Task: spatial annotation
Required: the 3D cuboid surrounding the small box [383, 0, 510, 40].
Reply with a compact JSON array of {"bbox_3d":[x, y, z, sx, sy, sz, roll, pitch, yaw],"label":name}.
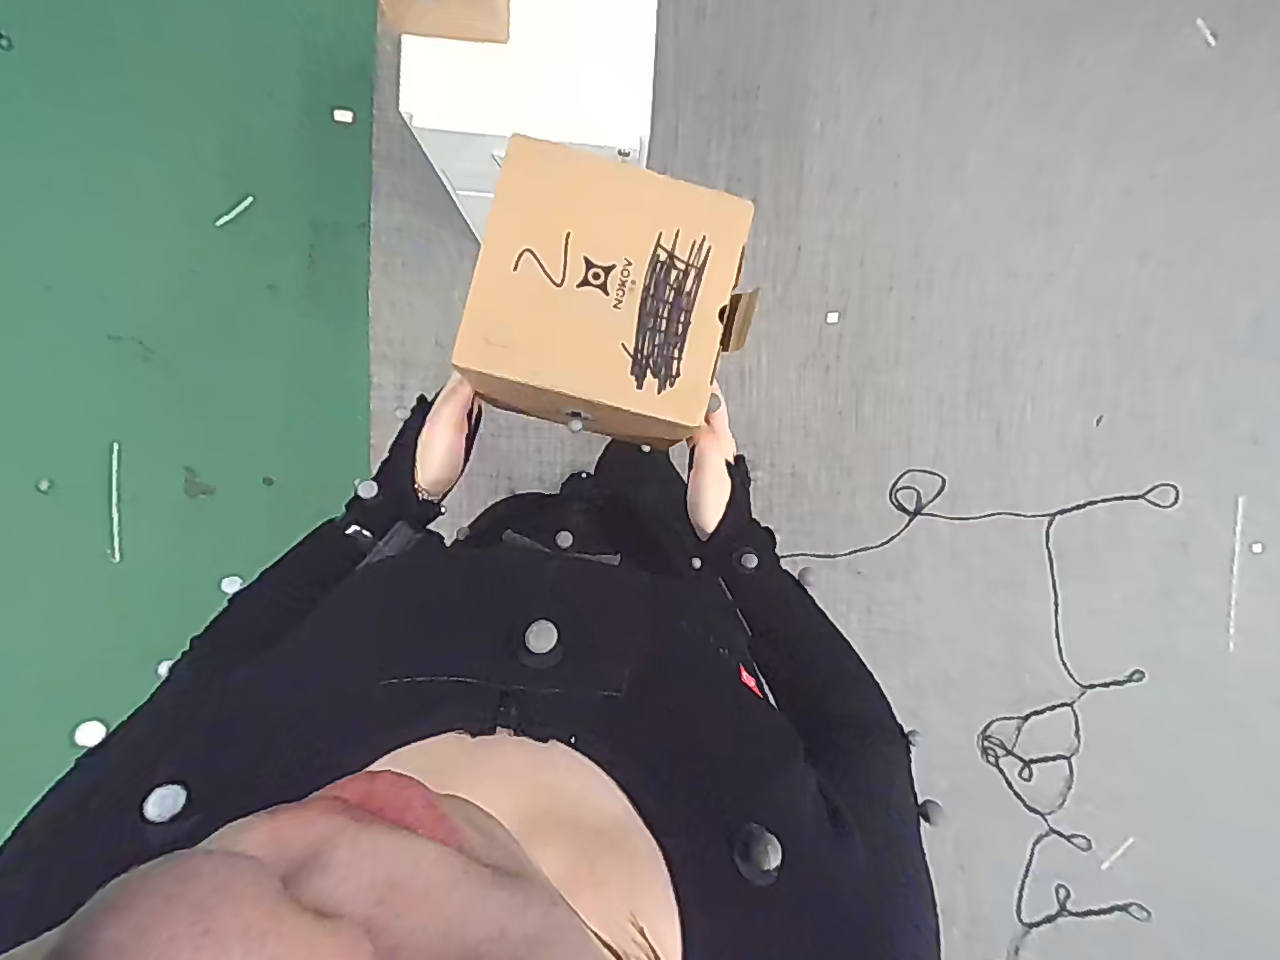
[{"bbox_3d":[-0.283,-0.762,0.754,0.179,0.176,0.168,2,94,-5],"label":"small box"}]
